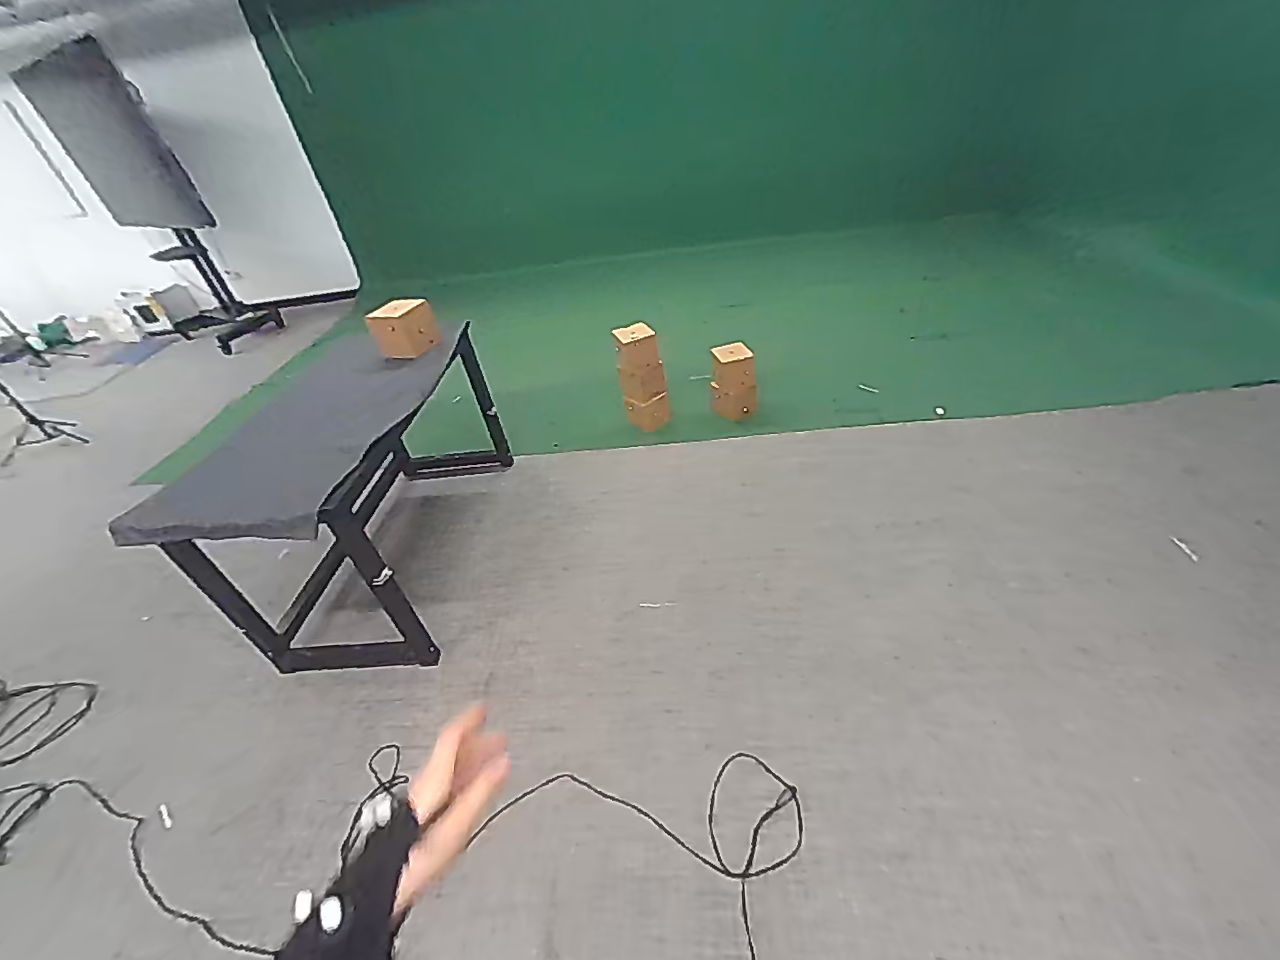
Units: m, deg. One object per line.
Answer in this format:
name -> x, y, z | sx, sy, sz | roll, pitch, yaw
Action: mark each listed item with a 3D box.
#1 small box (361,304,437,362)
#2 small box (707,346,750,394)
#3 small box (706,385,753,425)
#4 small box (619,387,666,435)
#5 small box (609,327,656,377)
small box -> -0.922, -0.565, 2.087 | 0.179, 0.176, 0.168 | 6, 40, 24
small box -> 0.440, -0.540, 2.678 | 0.168, 0.176, 0.179 | -15, 37, -8
small box -> 0.458, -0.407, 2.770 | 0.168, 0.176, 0.179 | -29, 42, -23
small box -> 0.017, -0.354, 2.807 | 0.168, 0.176, 0.179 | -34, 43, -27
small box -> -0.037, -0.621, 2.623 | 0.168, 0.176, 0.179 | -21, 39, -13
